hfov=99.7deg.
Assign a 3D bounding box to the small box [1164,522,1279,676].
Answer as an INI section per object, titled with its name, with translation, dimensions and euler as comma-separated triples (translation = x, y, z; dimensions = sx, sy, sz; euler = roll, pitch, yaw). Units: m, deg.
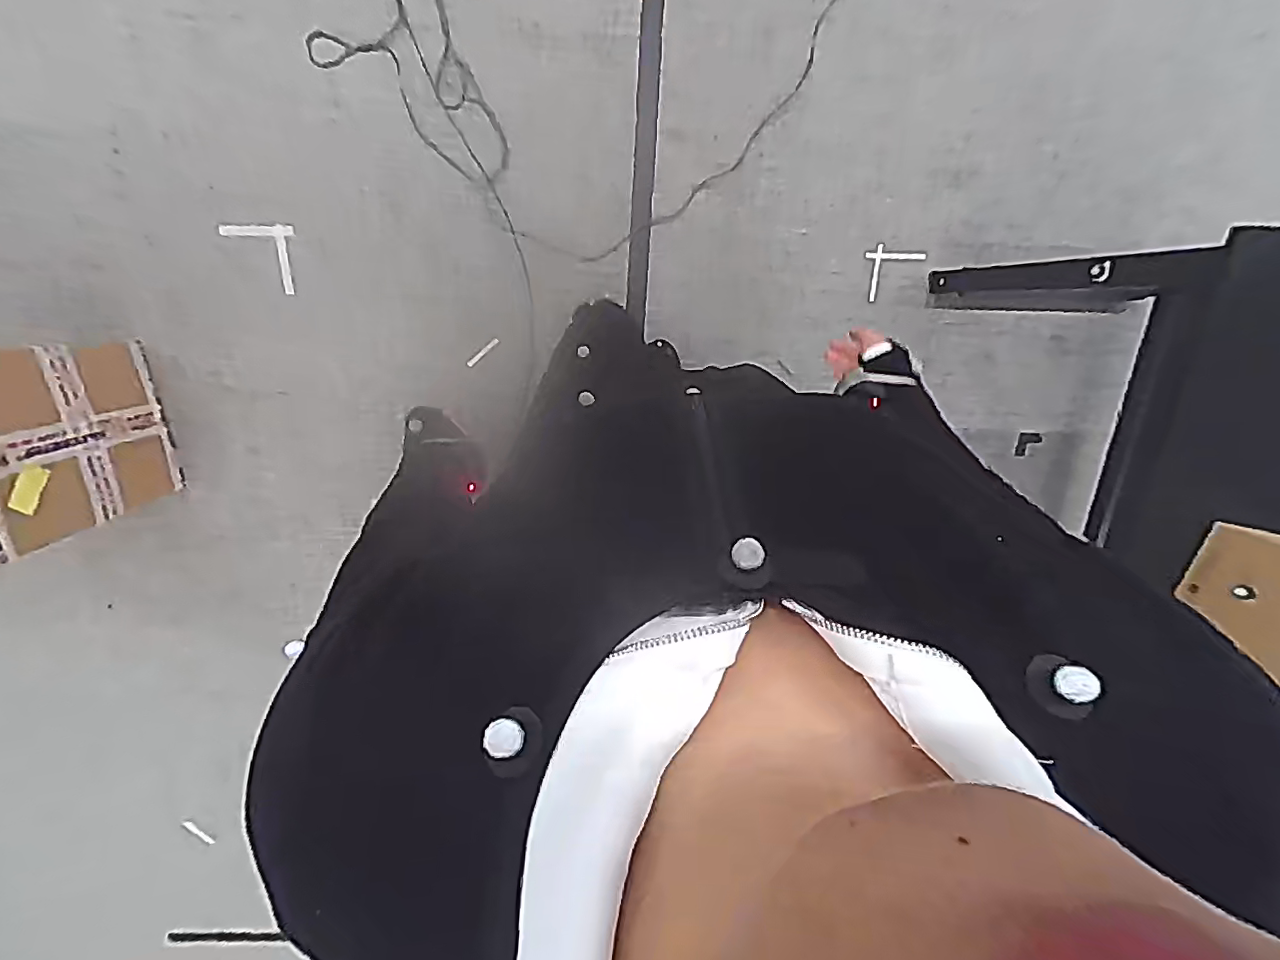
[small box]
translation = 0.918, 0.172, 0.762
dimensions = 0.179, 0.176, 0.168
euler = 11, 108, -7
